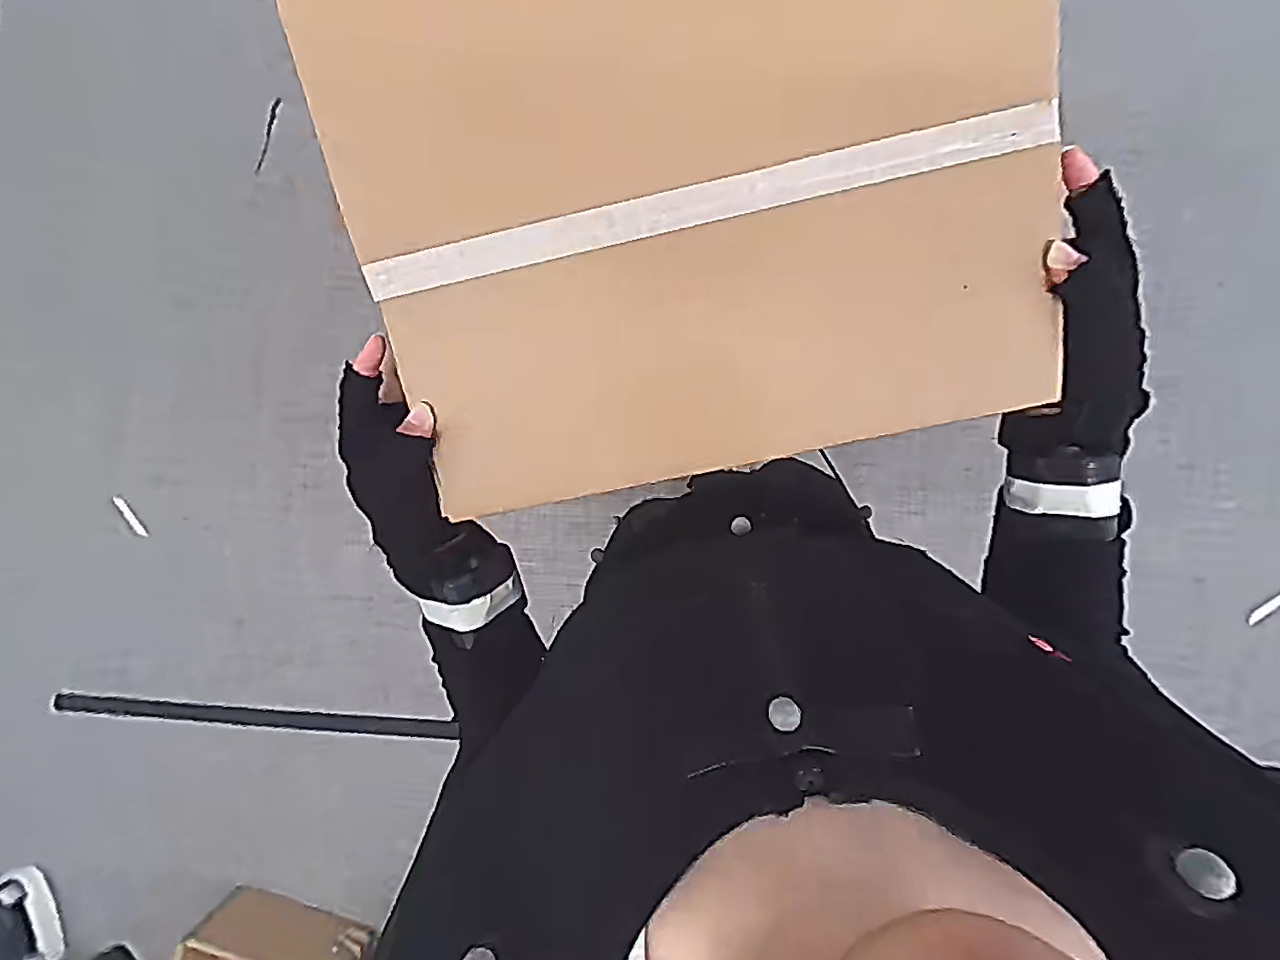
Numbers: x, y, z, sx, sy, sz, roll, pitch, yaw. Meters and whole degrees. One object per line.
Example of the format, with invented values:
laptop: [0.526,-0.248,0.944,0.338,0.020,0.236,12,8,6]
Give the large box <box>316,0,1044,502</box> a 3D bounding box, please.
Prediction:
large box: [0.039,-0.203,0.471,0.408,0.320,0.320,-11,105,3]
